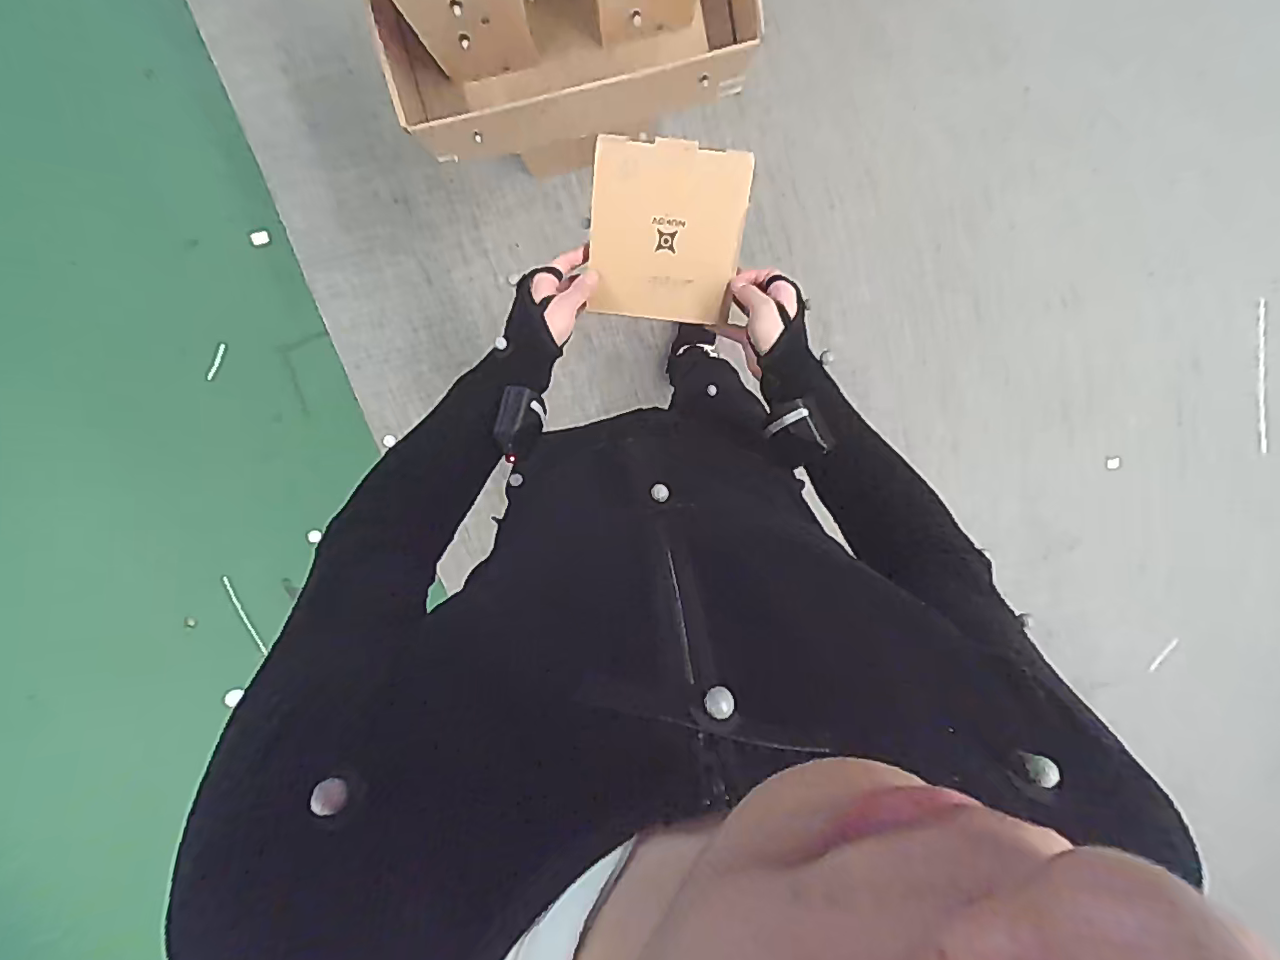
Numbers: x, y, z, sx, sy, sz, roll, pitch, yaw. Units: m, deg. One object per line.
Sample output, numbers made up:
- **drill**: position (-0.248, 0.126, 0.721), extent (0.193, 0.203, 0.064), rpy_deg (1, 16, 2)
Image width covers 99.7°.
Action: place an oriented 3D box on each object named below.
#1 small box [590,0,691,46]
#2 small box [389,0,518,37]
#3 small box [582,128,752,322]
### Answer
- **small box**: position (-0.008, -0.850, 0.880), extent (0.168, 0.176, 0.179), rpy_deg (-11, 105, 3)
- **small box**: position (-0.276, -0.747, 0.736), extent (0.168, 0.176, 0.179), rpy_deg (-11, 106, 2)
- **small box**: position (0.023, -0.300, 0.652), extent (0.168, 0.176, 0.179), rpy_deg (5, 115, -3)
